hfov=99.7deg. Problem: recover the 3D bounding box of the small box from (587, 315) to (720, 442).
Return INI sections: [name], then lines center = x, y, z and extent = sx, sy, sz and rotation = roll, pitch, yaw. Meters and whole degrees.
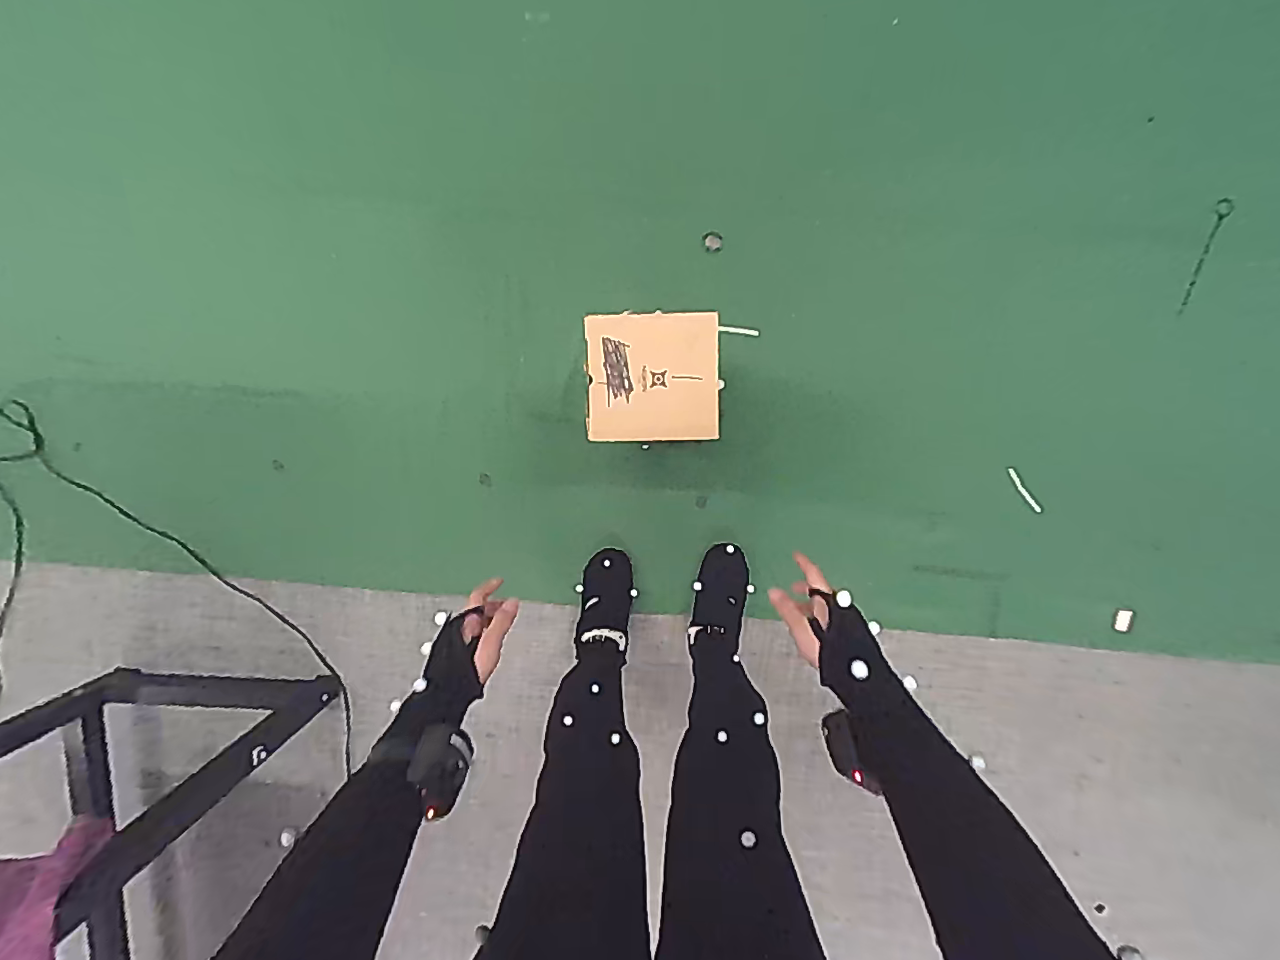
[small box]
center = 0.023, -0.141, 0.789
extent = 0.179, 0.176, 0.168
rotation = -1, 98, 3
